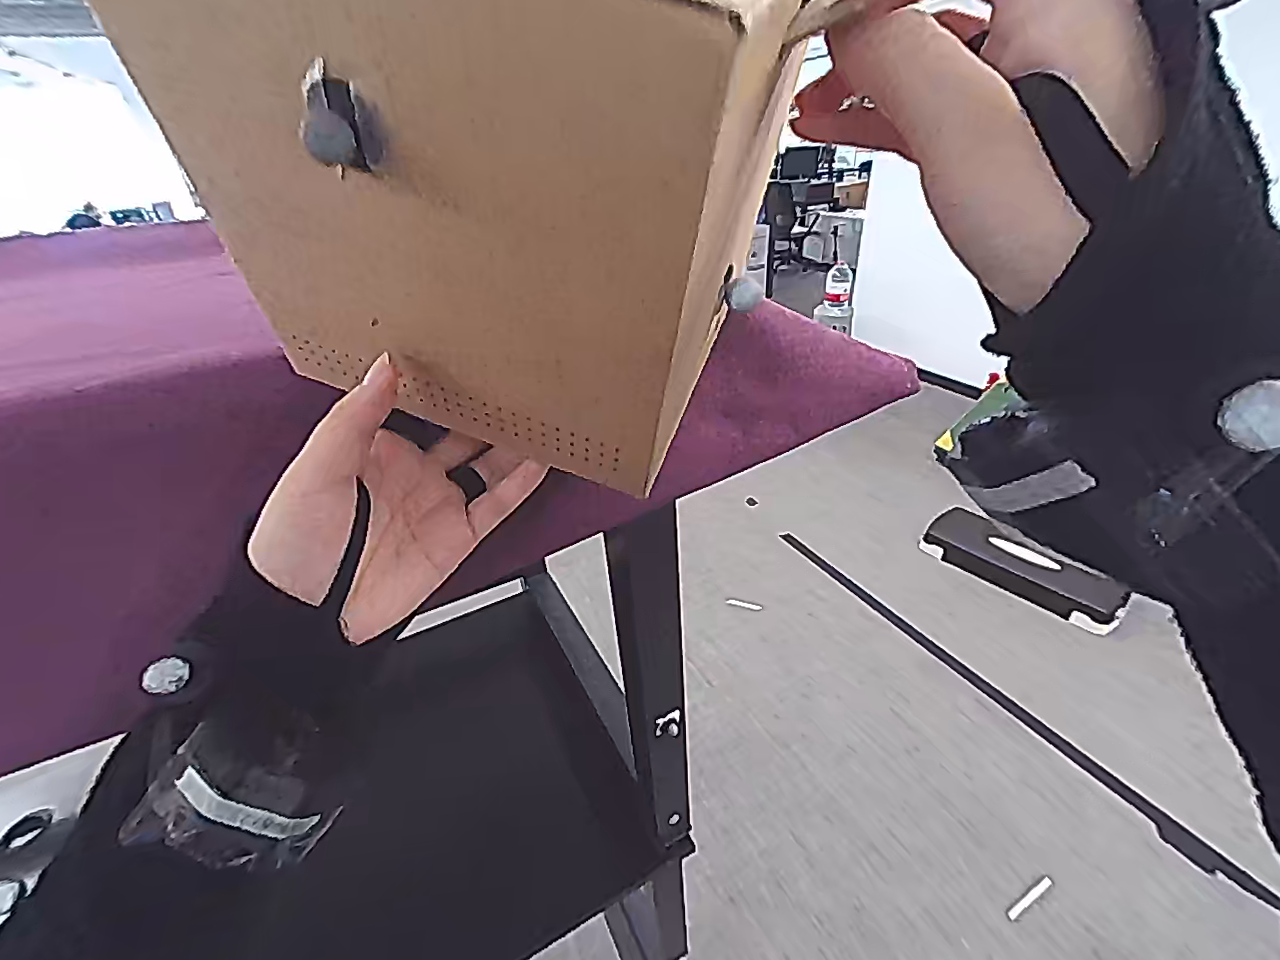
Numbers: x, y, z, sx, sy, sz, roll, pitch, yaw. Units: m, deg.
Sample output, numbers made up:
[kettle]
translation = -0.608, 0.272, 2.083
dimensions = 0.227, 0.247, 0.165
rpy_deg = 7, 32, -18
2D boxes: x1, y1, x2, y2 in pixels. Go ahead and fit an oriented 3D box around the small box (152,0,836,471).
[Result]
[small box]
translation = -0.037, -0.129, 0.218
dimensions = 0.179, 0.176, 0.168
rpy_deg = 21, 56, 5
